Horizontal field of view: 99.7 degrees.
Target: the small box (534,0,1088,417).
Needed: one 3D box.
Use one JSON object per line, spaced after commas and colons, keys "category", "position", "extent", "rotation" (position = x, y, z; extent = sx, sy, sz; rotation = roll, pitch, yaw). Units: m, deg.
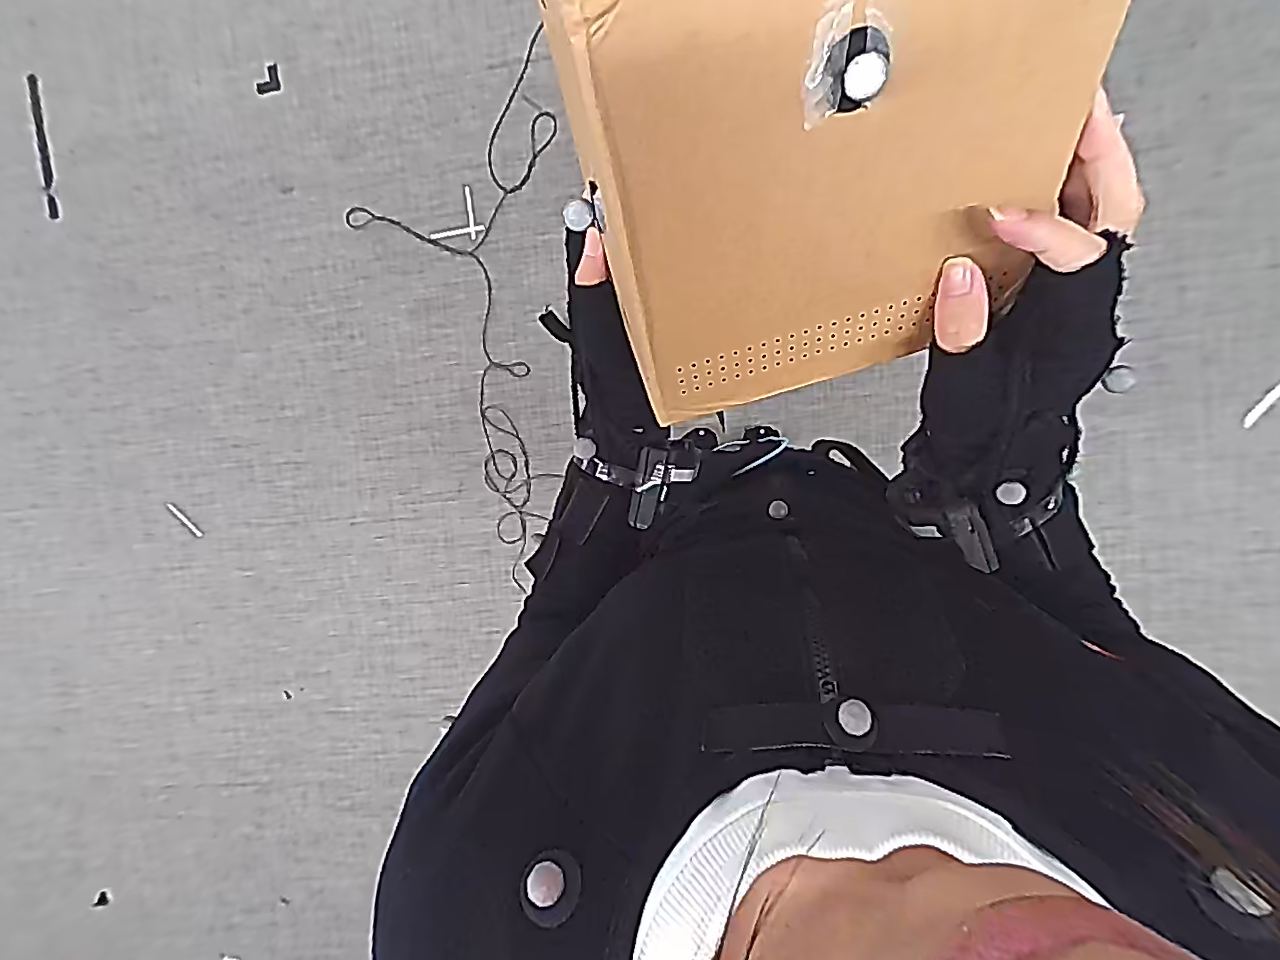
{"category": "small box", "position": [0.063, -0.154, 0.257], "extent": [0.179, 0.168, 0.176], "rotation": [-16, 138, 1]}
